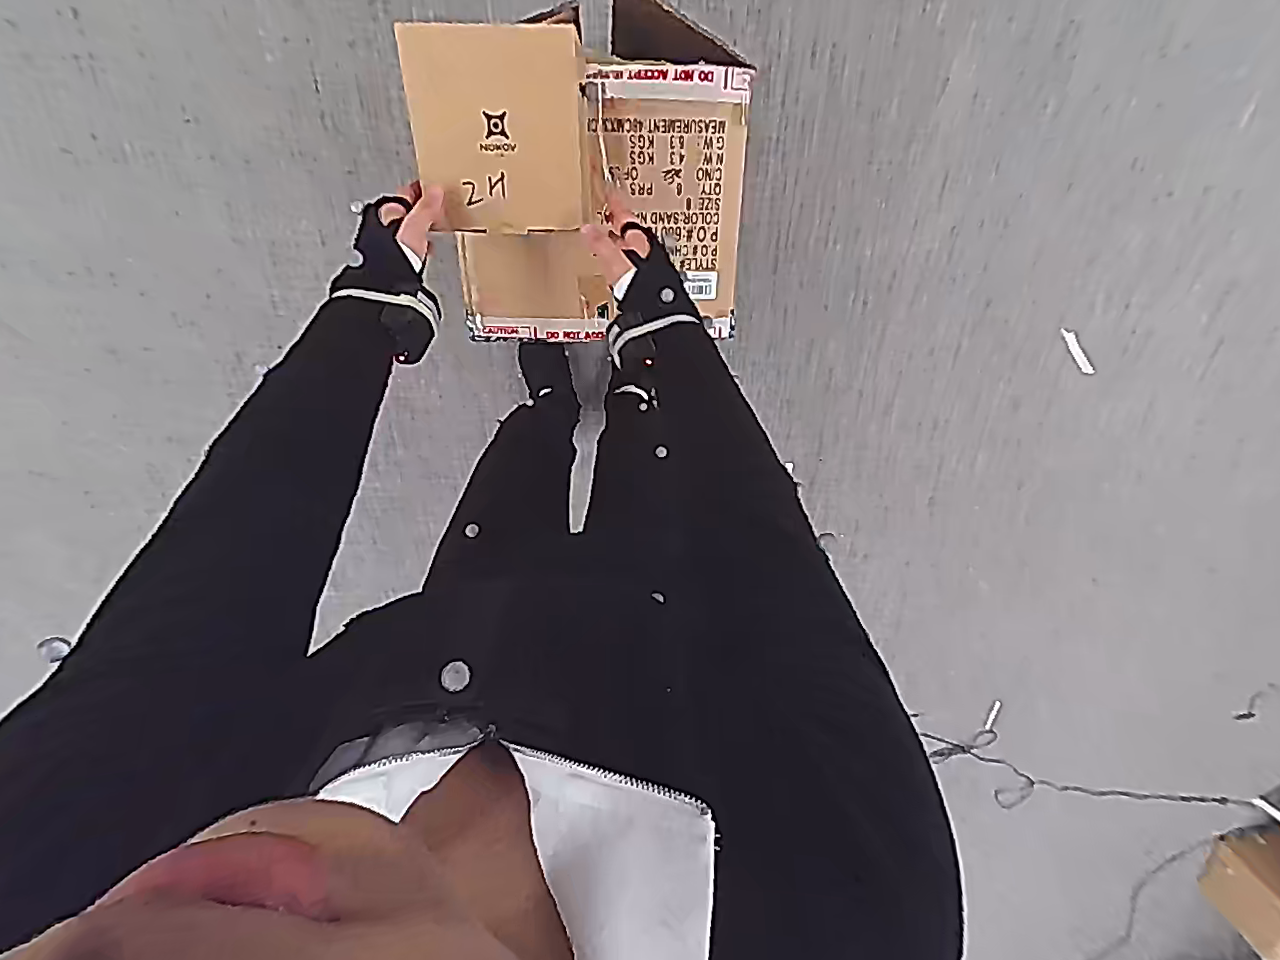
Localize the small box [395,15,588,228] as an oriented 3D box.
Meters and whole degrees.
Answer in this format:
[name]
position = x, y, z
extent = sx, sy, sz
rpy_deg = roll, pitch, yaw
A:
[small box]
position = -0.145, -0.382, 0.600
extent = 0.168, 0.176, 0.179
rpy_deg = -1, 120, -2
